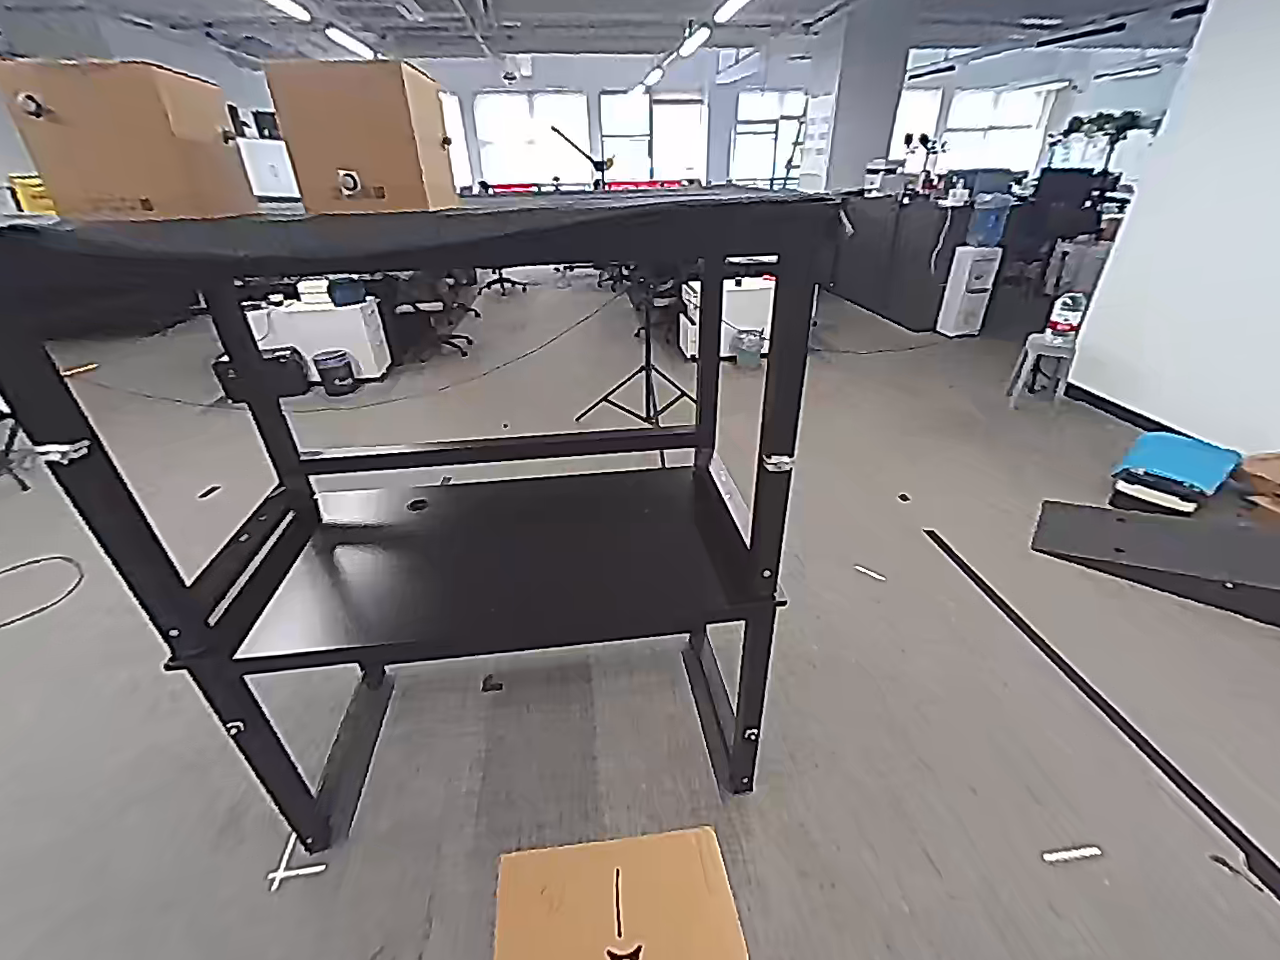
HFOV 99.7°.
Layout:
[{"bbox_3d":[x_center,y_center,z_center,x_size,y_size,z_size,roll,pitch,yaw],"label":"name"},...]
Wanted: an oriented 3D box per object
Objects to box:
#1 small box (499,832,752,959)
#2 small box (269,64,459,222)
[{"bbox_3d":[-0.011,0.389,0.374,0.168,0.176,0.179,-1,28,-10],"label":"small box"},{"bbox_3d":[-0.361,-0.456,0.749,0.168,0.176,0.179,-4,29,-3],"label":"small box"}]
